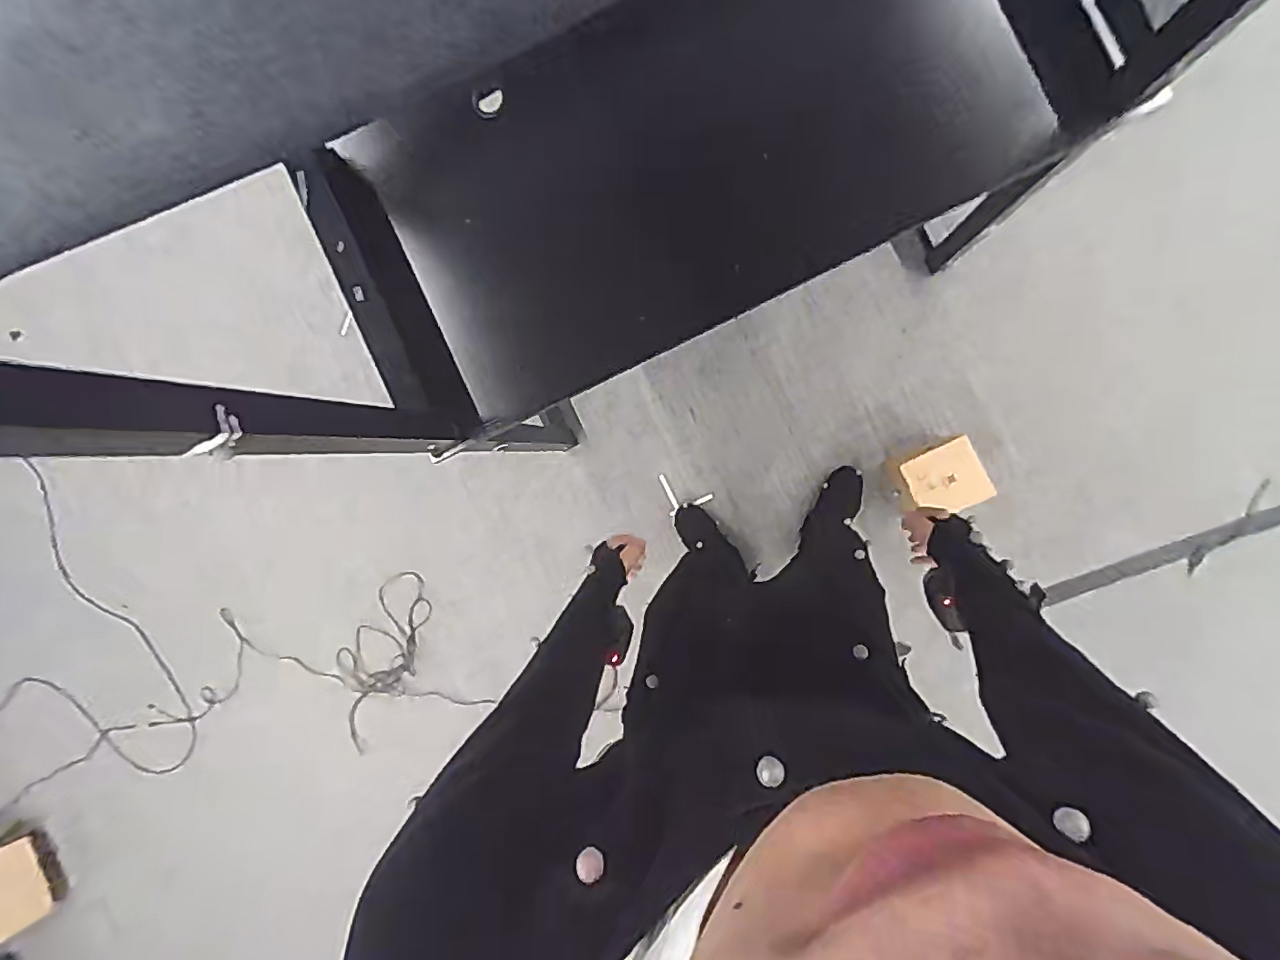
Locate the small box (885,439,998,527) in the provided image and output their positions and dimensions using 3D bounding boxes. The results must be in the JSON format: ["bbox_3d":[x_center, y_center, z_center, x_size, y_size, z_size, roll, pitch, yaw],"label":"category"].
[{"bbox_3d":[0.771,0.002,1.404,0.179,0.176,0.168,-26,88,10],"label":"small box"}]
